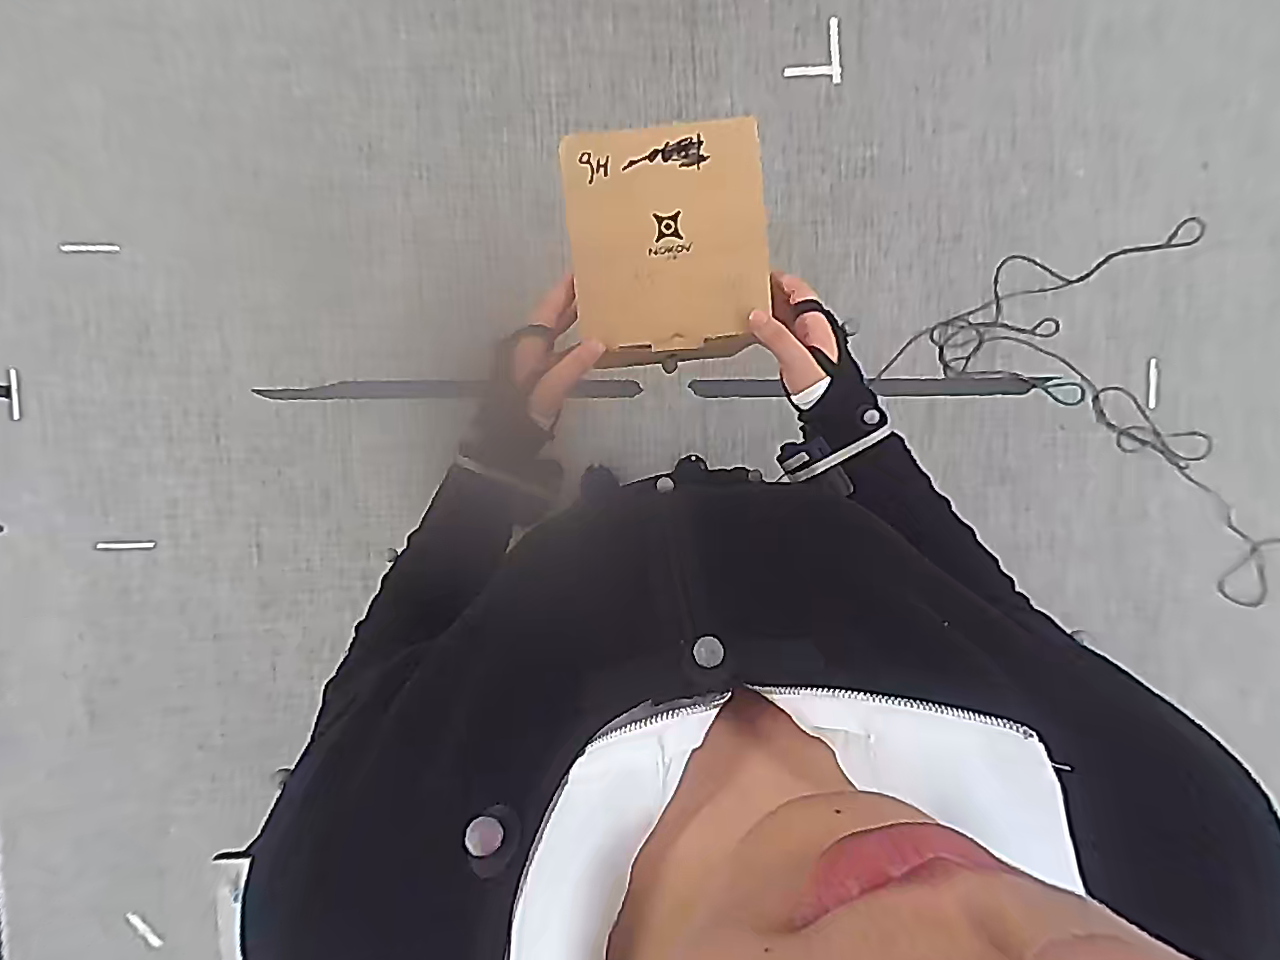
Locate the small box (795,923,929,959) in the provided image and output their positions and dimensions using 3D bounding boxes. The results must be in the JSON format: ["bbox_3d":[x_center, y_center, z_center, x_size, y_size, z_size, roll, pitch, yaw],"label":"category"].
[{"bbox_3d":[0.318,0.737,0.722,0.179,0.176,0.168,-1,92,-1],"label":"small box"}]
